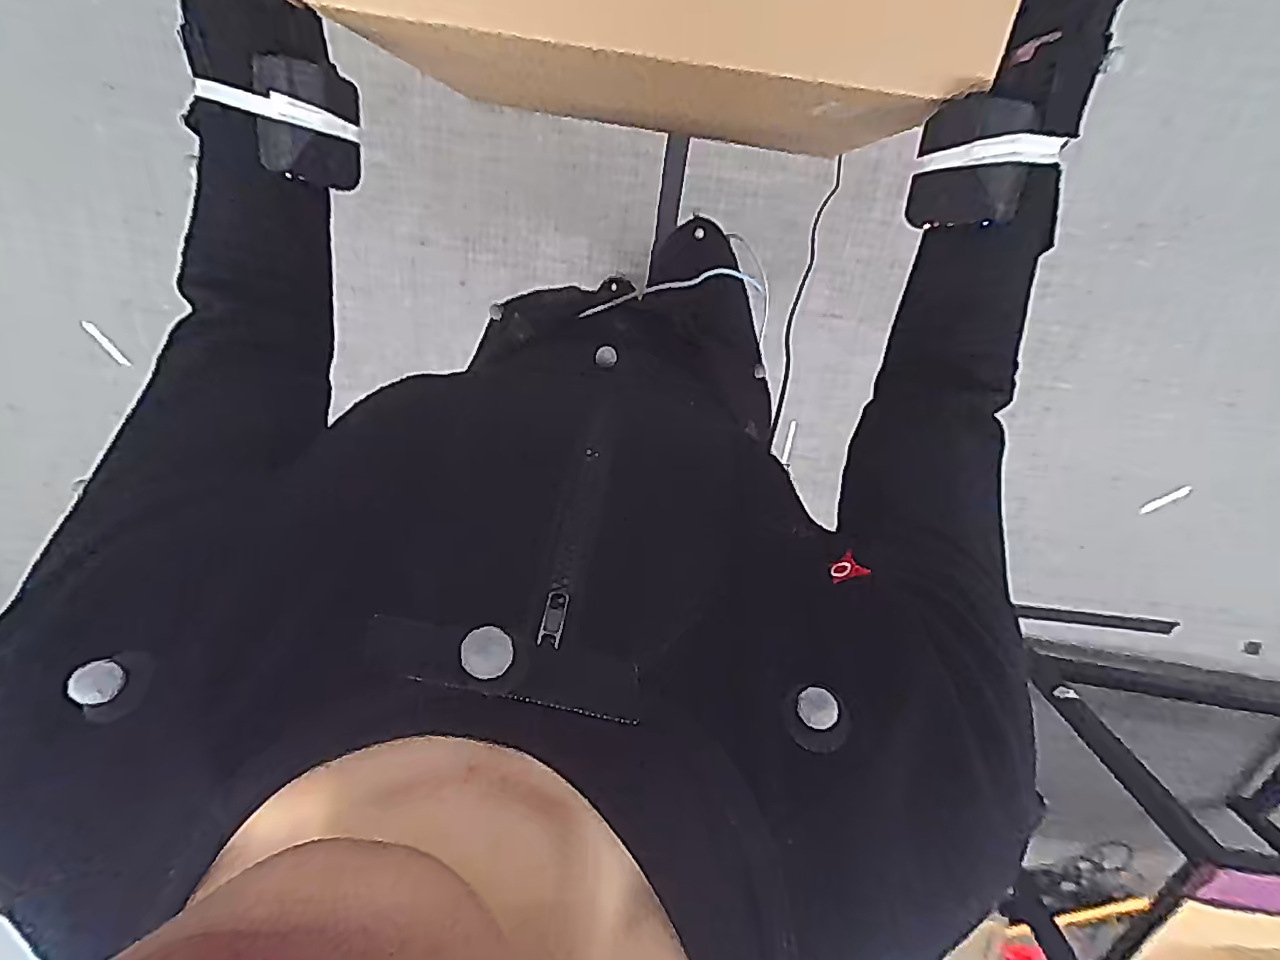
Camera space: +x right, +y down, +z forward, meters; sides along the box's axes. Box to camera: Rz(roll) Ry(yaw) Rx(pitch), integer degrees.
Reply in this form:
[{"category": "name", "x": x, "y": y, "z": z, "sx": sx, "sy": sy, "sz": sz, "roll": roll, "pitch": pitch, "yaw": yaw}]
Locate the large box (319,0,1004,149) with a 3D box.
[{"category": "large box", "x": 0.027, "y": -0.454, "z": 0.389, "sx": 0.408, "sy": 0.320, "sz": 0.320, "roll": 8, "pitch": 117, "yaw": -1}]
